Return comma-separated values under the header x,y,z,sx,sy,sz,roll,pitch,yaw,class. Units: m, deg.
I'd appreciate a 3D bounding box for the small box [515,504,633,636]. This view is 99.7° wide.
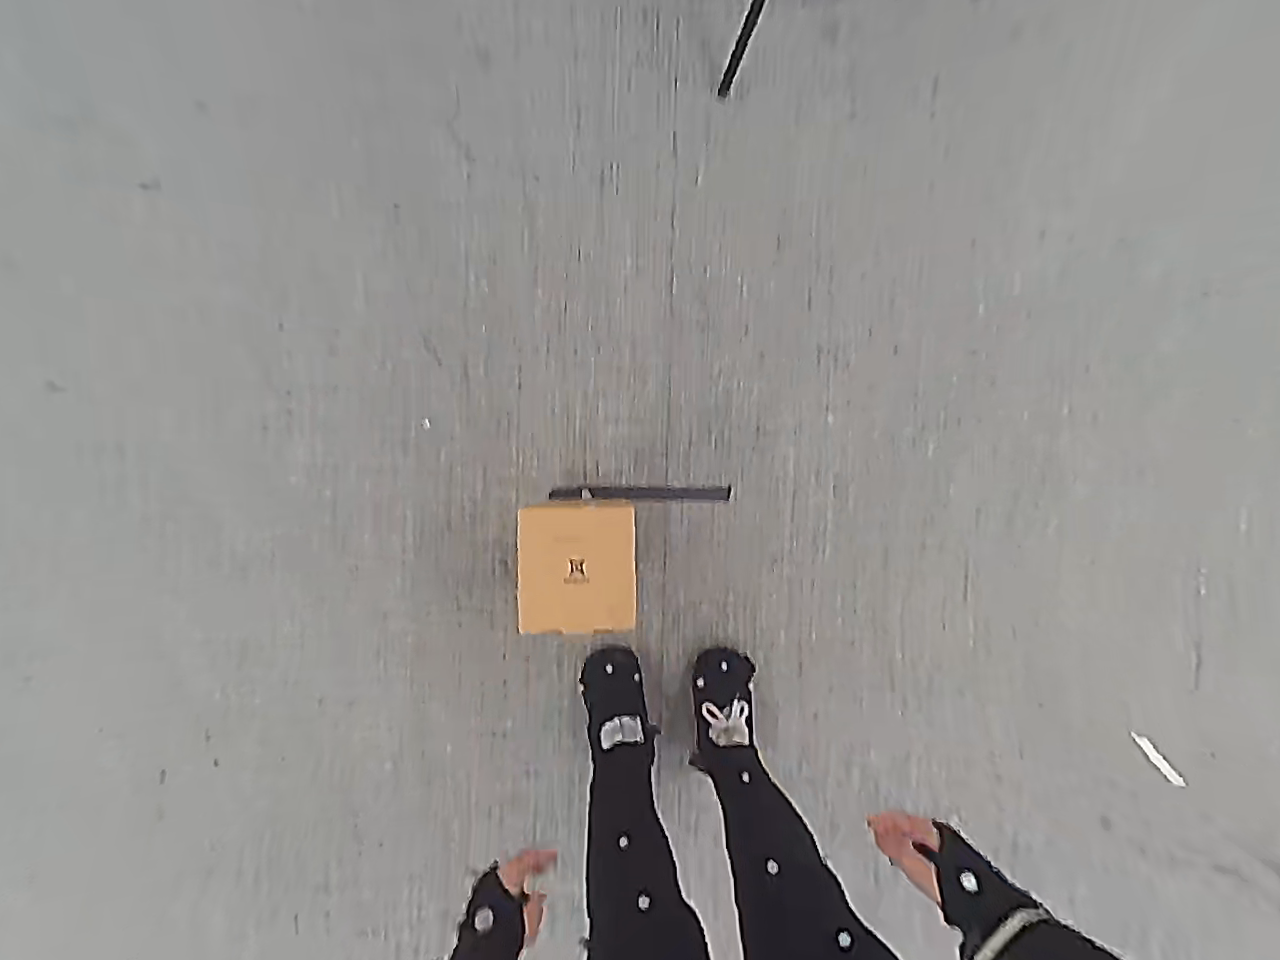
x,y,z,sx,sy,sz,roll,pitch,yaw,class
-0.098,0.130,0.839,0.168,0.176,0.179,-2,89,-5,small box
